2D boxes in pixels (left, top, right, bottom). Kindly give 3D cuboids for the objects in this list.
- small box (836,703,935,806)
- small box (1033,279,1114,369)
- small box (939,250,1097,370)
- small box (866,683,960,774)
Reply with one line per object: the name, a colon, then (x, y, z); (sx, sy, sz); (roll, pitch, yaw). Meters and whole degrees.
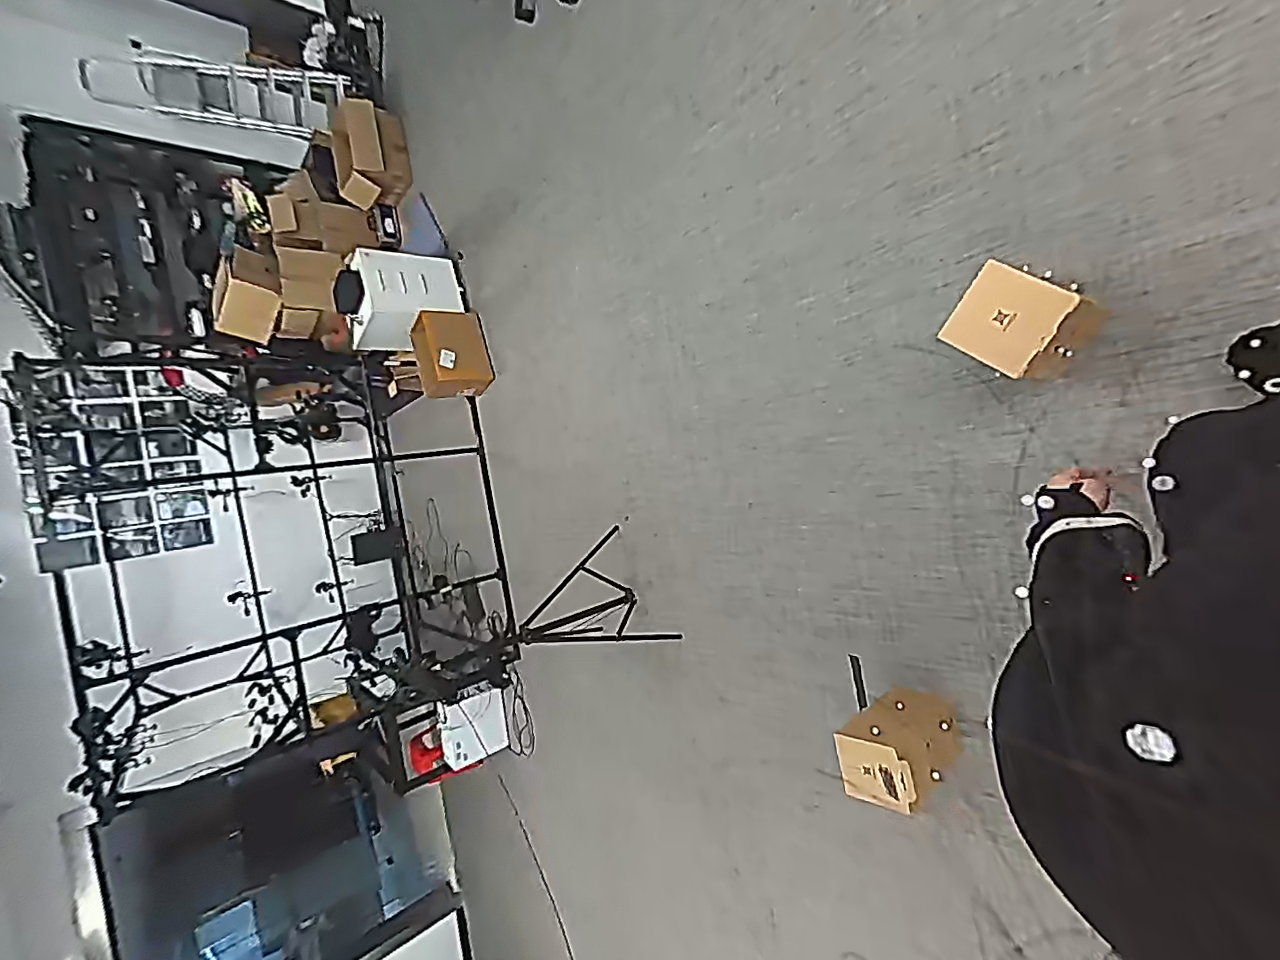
small box: (0.650, 0.708, 1.420); (0.179, 0.176, 0.168); (-14, 87, 51)
small box: (0.868, -0.351, 1.172); (0.179, 0.176, 0.168); (47, 130, 33)
small box: (0.744, -0.329, 1.067); (0.179, 0.176, 0.168); (46, 129, 32)
small box: (0.776, 0.690, 1.525); (0.179, 0.176, 0.168); (-16, 86, 52)
